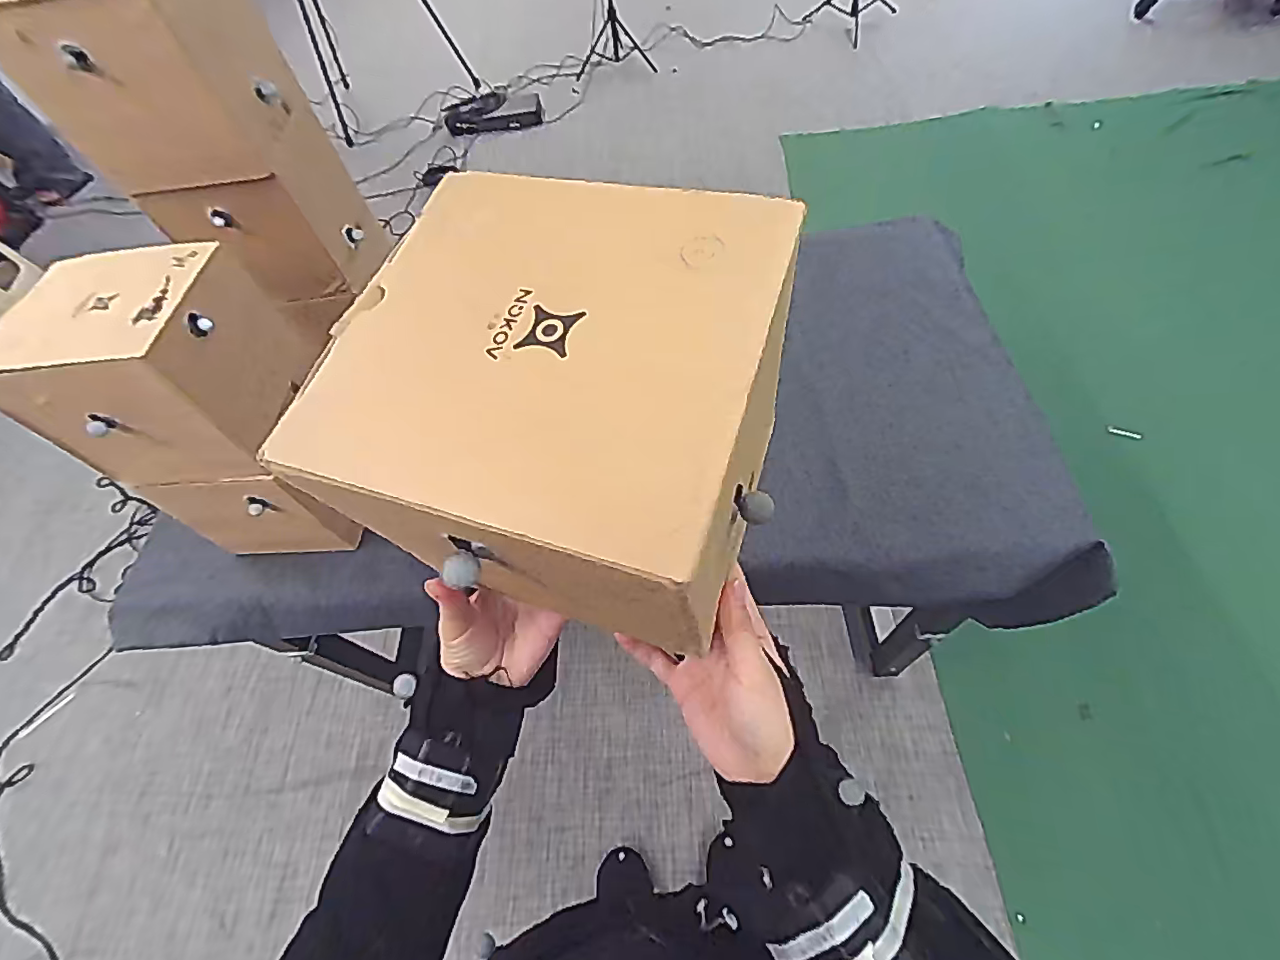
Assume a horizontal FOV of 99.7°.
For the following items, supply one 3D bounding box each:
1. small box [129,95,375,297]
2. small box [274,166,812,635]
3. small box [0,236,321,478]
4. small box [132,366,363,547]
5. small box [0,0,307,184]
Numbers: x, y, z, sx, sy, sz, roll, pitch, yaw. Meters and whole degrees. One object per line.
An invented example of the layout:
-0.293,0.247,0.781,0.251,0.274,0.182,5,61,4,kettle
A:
-0.483,-0.360,0.706,0.179,0.176,0.168,-7,61,1,small box
-0.023,-0.027,0.284,0.179,0.176,0.168,13,68,16,small box
-0.476,-0.115,0.552,0.179,0.176,0.168,-6,57,4,small box
-0.455,-0.024,0.686,0.179,0.176,0.168,-3,56,6,small box
-0.495,-0.434,0.559,0.179,0.176,0.168,-5,61,3,small box
